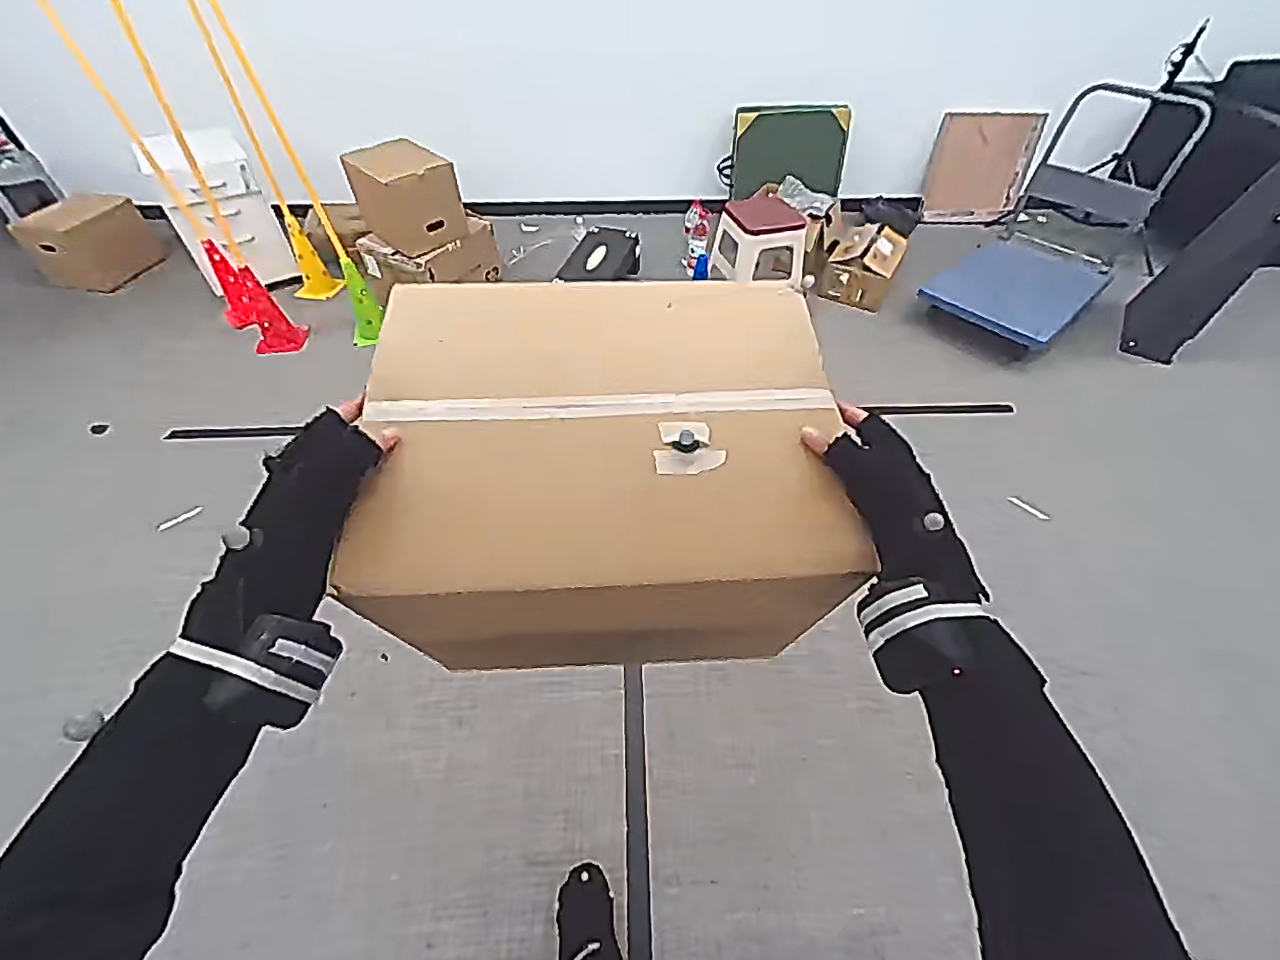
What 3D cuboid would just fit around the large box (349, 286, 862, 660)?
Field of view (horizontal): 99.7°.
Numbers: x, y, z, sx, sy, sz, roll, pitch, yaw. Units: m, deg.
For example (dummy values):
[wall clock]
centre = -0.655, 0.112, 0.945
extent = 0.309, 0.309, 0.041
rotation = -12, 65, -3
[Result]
[large box]
centre = -0.036, 0.008, 0.613
extent = 0.408, 0.320, 0.320
rotation = -1, 62, -3
